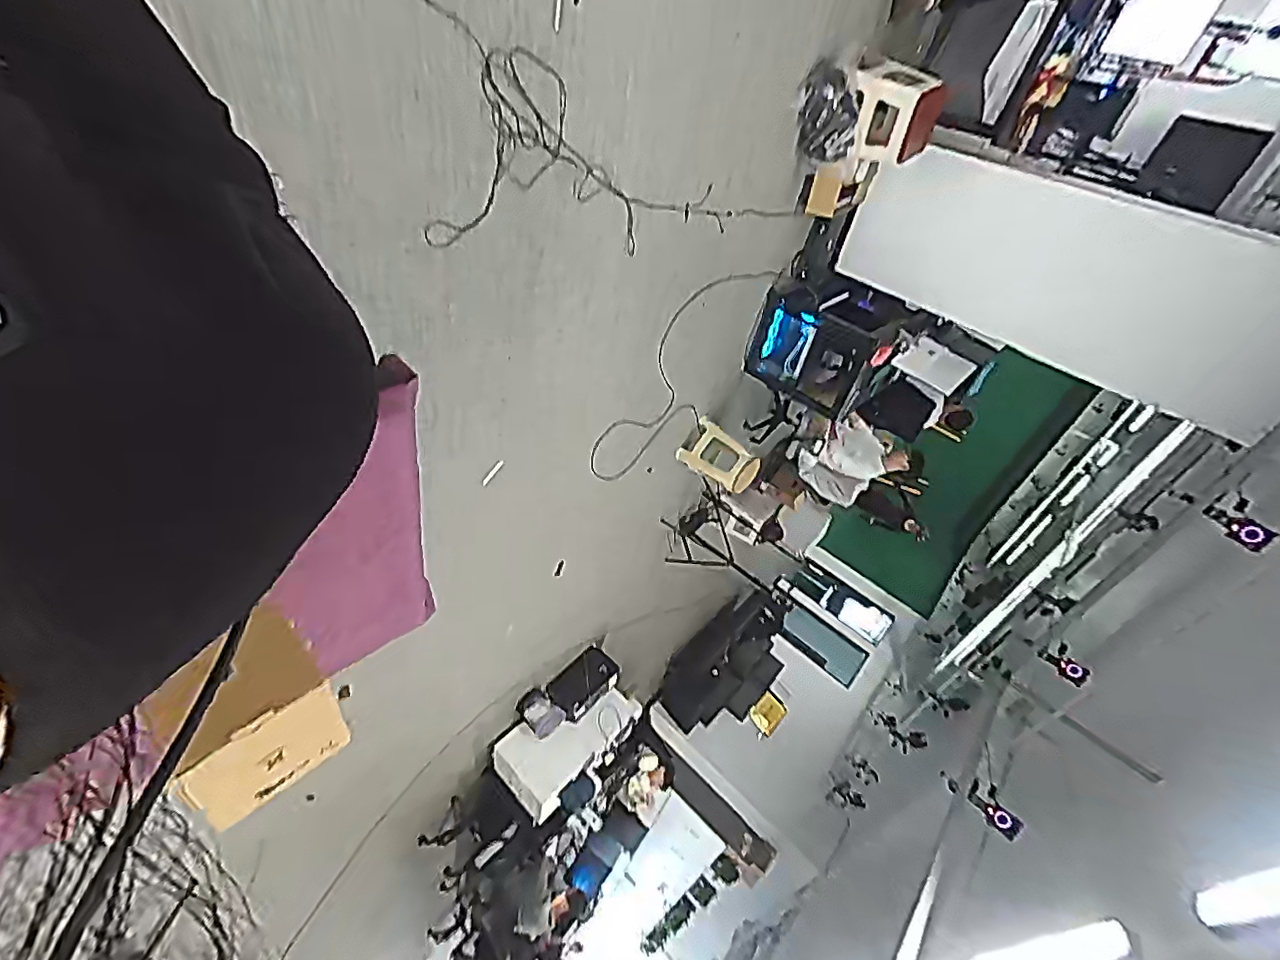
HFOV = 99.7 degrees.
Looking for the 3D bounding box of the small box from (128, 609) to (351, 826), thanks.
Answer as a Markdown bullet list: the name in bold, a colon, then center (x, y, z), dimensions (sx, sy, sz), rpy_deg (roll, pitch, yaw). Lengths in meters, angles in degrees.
- **small box**: center (-0.514, 0.296, 0.707), dimensions (0.168, 0.176, 0.179), rpy_deg (-31, 147, -39)
